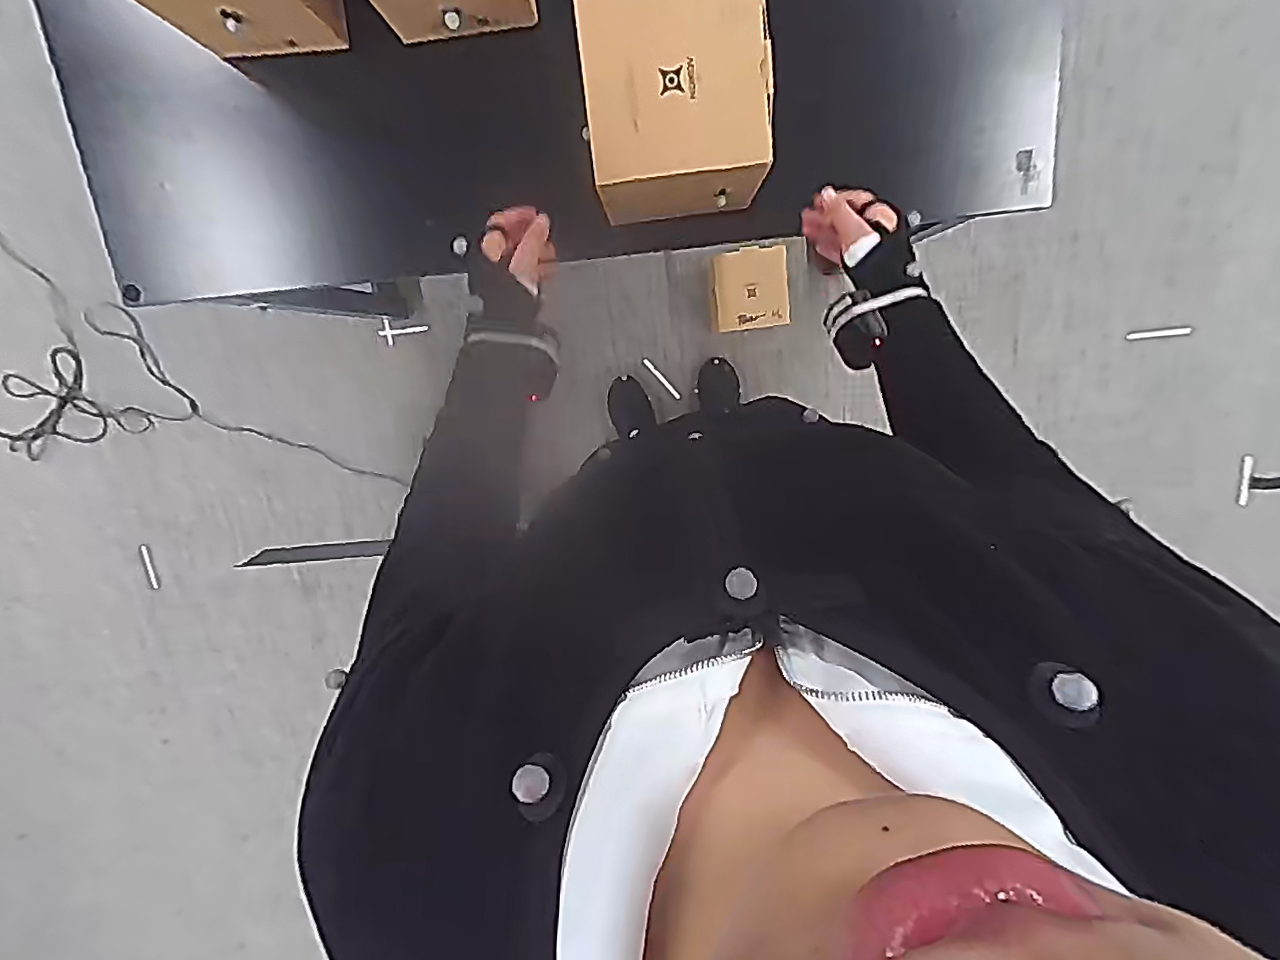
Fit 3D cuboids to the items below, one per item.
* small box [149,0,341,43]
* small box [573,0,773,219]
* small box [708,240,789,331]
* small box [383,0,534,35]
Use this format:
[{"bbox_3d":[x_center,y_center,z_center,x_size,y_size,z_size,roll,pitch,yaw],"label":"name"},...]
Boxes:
[{"bbox_3d":[-0.437,-0.585,0.553,0.168,0.176,0.179,-3,103,2],"label":"small box"},{"bbox_3d":[0.036,-0.398,0.583,0.179,0.176,0.168,-6,101,5],"label":"small box"},{"bbox_3d":[0.257,-0.463,1.308,0.168,0.176,0.179,-6,103,4],"label":"small box"},{"bbox_3d":[-0.214,-0.601,0.542,0.168,0.176,0.179,-6,104,3],"label":"small box"}]
